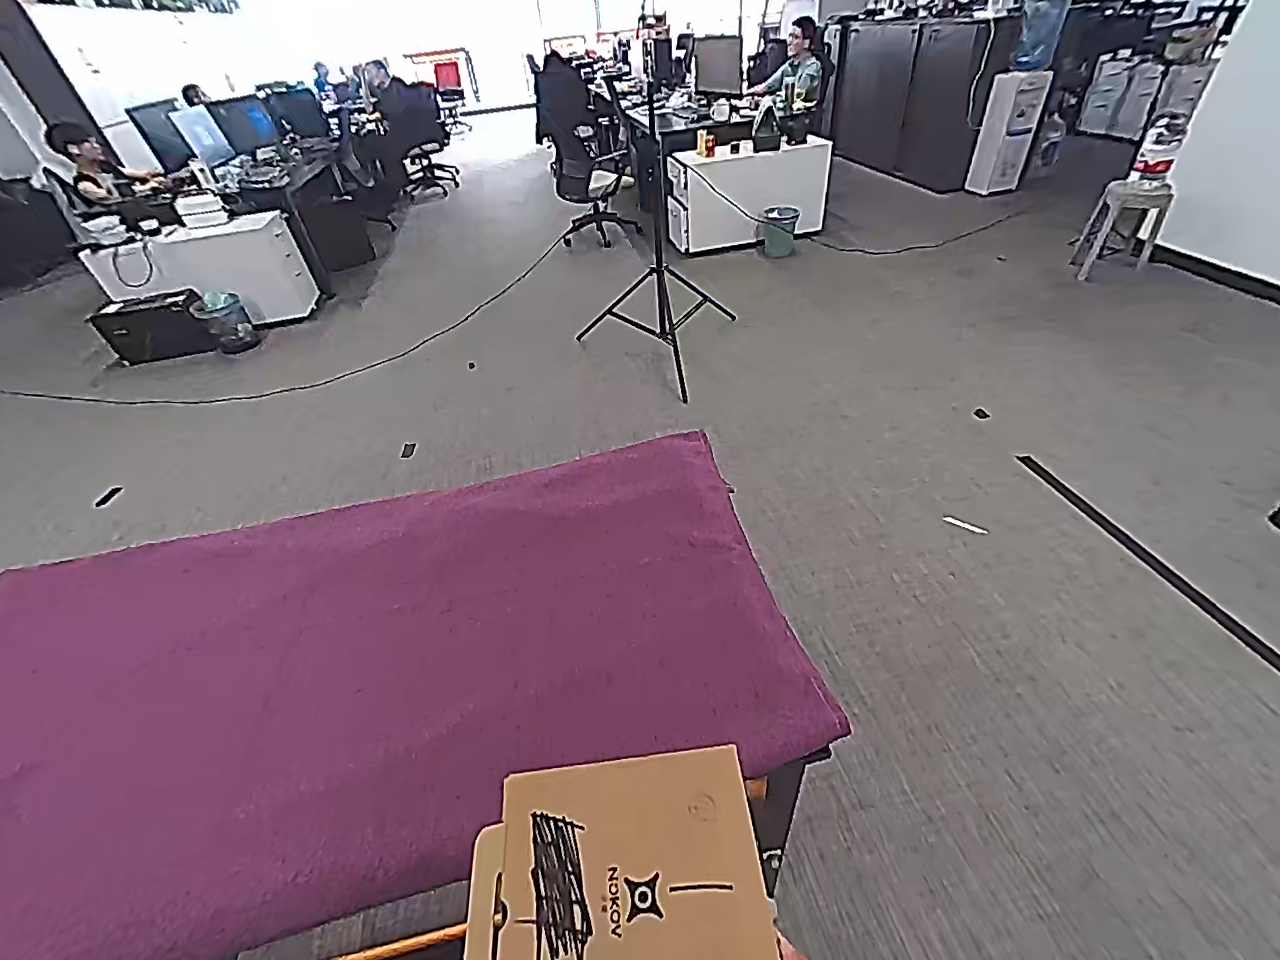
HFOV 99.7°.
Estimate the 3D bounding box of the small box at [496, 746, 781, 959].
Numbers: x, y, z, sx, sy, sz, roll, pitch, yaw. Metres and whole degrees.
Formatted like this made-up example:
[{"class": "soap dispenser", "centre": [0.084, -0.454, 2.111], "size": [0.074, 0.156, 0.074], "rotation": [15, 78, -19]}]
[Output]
[{"class": "small box", "centre": [0.002, 0.324, 0.406], "size": [0.179, 0.176, 0.168], "rotation": [-7, 46, -1]}]
